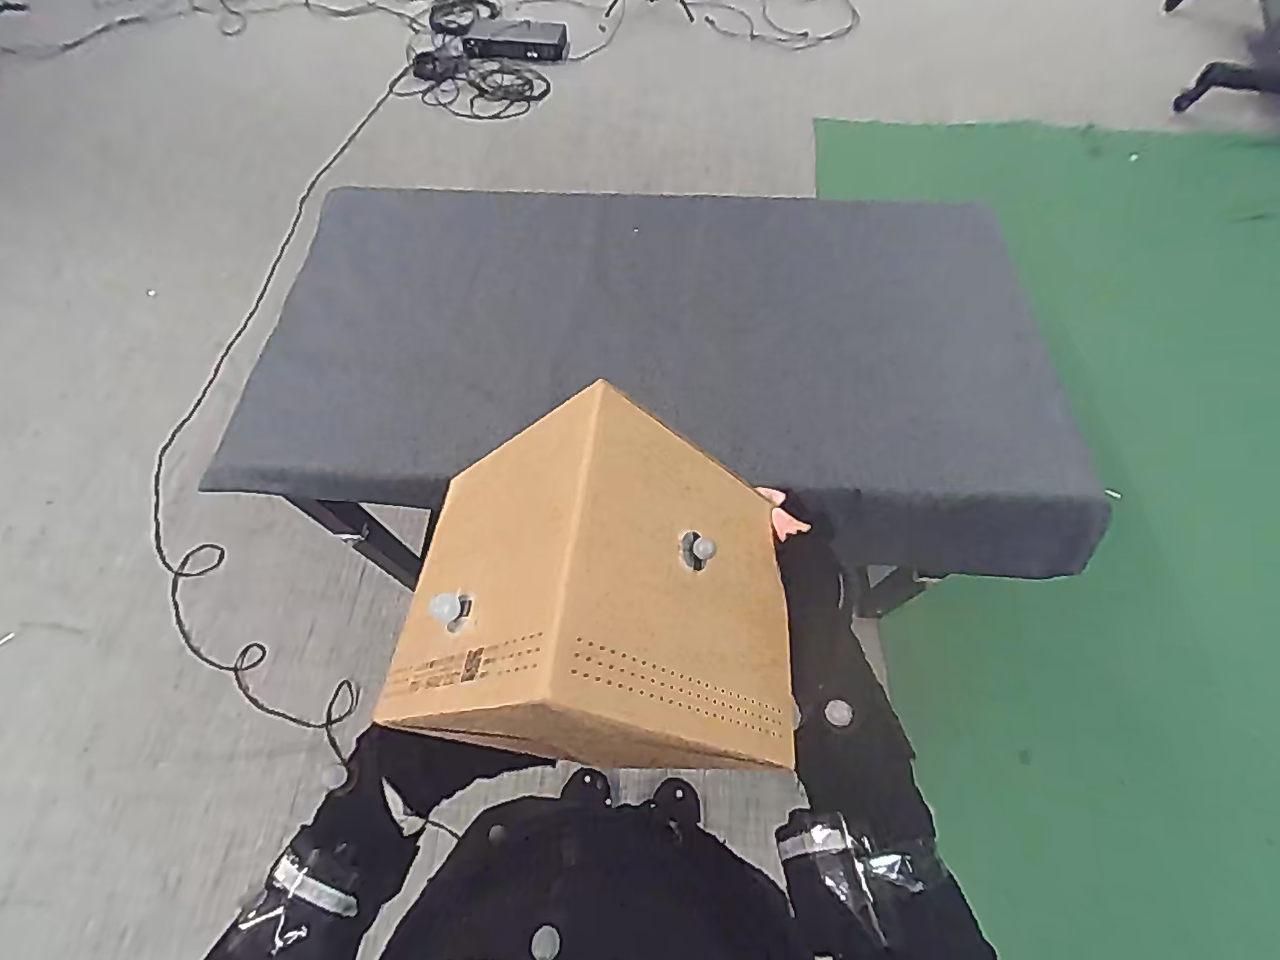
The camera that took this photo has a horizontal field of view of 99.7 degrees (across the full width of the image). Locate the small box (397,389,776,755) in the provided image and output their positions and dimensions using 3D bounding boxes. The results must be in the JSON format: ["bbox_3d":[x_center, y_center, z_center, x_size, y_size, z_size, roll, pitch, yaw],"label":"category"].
[{"bbox_3d":[-0.025,0.080,0.359,0.168,0.179,0.176,-26,46,38],"label":"small box"}]
